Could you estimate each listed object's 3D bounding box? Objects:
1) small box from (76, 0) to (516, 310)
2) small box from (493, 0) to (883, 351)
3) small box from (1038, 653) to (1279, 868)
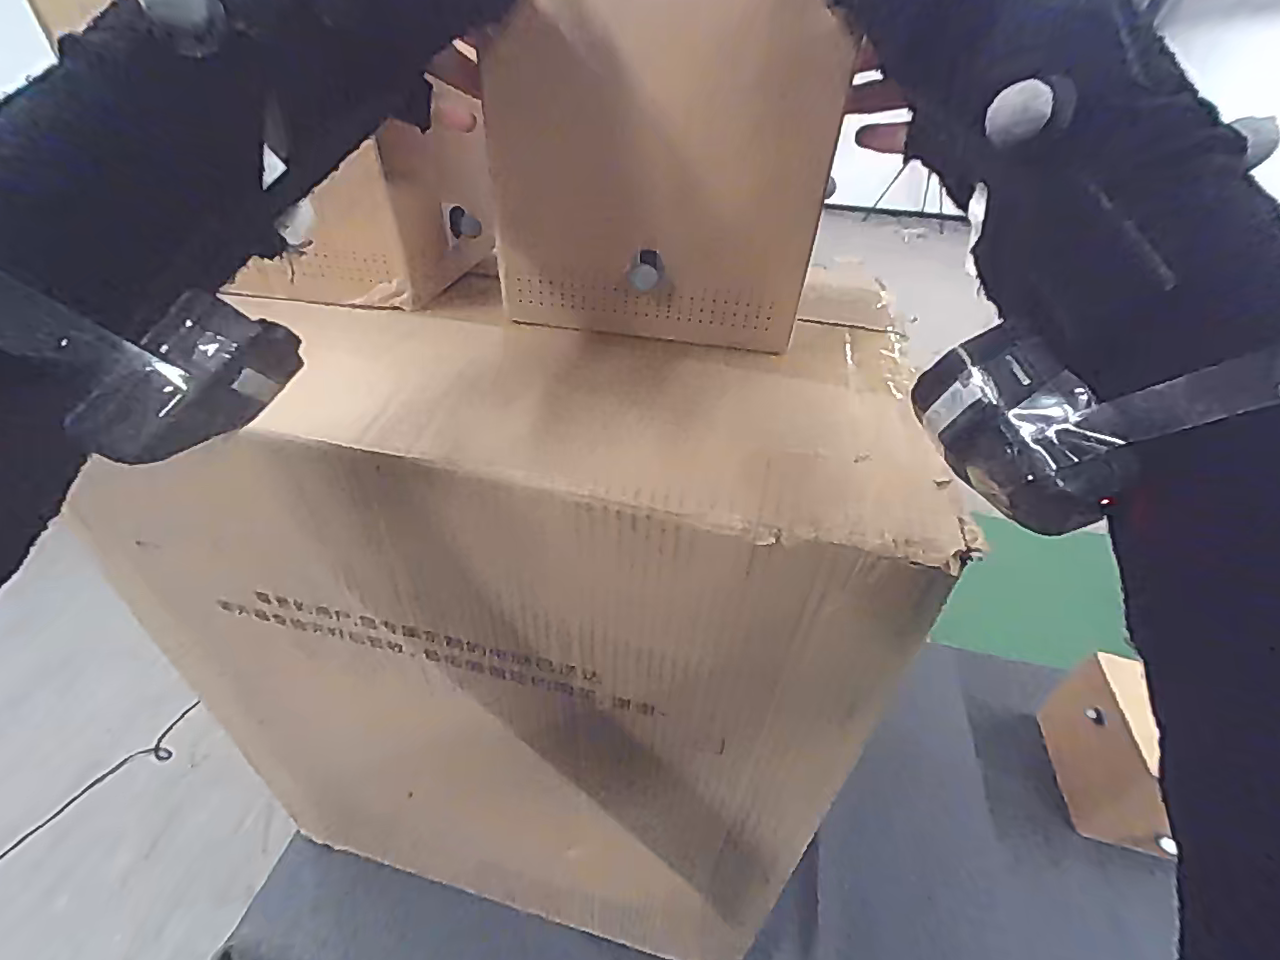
[{"bbox_3d":[-0.198,-0.229,0.367,0.179,0.176,0.168,9,41,6],"label":"small box"},{"bbox_3d":[0.027,-0.196,0.345,0.179,0.176,0.168,8,39,6],"label":"small box"},{"bbox_3d":[0.676,0.369,0.720,0.168,0.176,0.179,11,38,11],"label":"small box"}]
